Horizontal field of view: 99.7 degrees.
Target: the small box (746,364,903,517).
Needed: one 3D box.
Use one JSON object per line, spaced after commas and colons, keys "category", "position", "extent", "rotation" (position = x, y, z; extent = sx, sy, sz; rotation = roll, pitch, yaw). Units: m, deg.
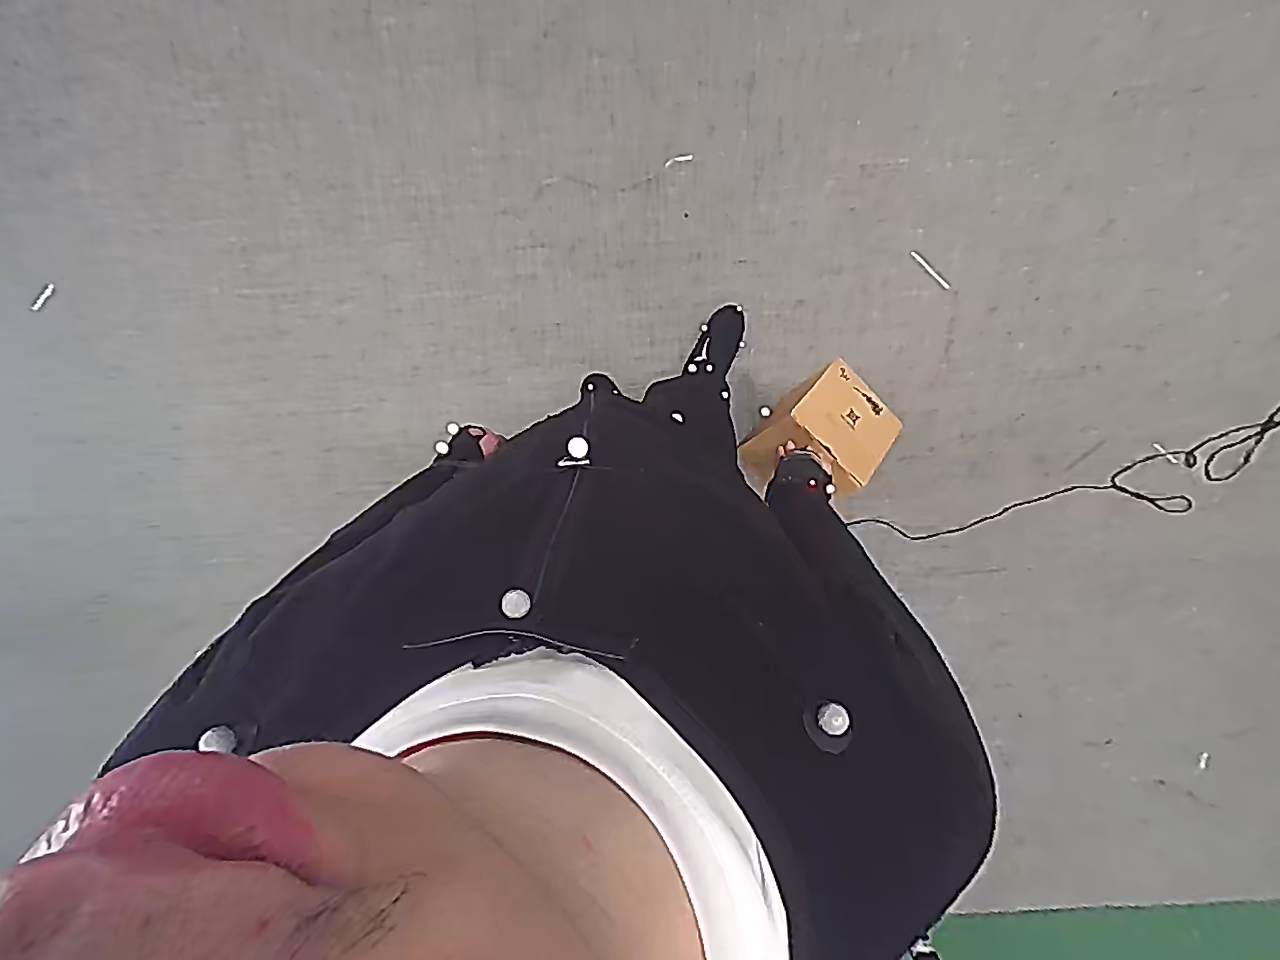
{"category": "small box", "position": [0.313, -0.061, 0.948], "extent": [0.168, 0.176, 0.179], "rotation": [43, 59, -1]}
